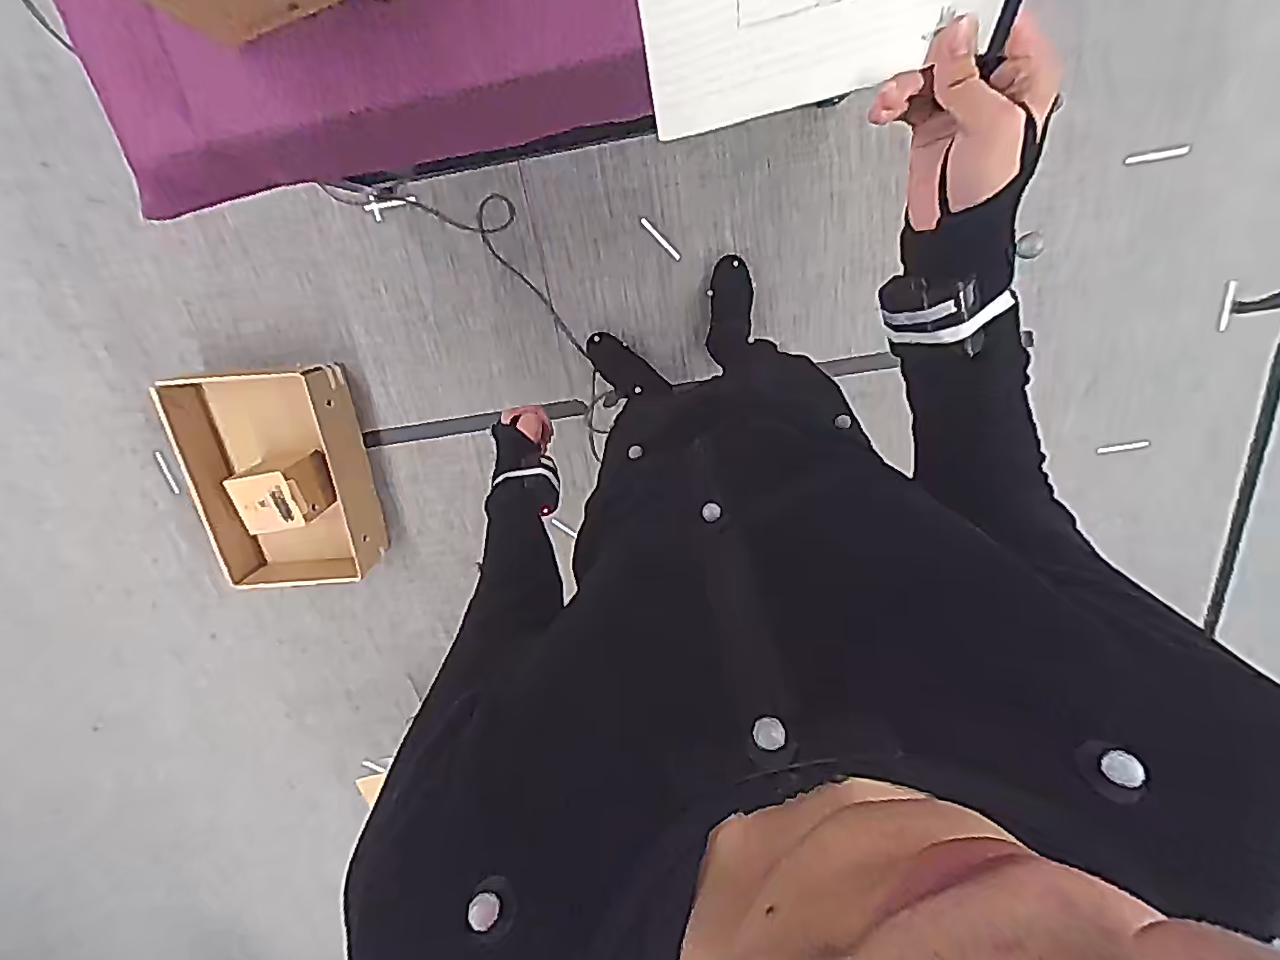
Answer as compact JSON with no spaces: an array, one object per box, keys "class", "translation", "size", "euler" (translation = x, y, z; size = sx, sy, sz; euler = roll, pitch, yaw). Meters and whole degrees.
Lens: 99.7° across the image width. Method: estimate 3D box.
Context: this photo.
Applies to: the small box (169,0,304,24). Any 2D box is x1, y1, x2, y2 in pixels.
[{"class":"small box","translation":[-0.452,-0.610,0.550],"size":[0.168,0.176,0.179],"euler":[-17,111,5]}]
